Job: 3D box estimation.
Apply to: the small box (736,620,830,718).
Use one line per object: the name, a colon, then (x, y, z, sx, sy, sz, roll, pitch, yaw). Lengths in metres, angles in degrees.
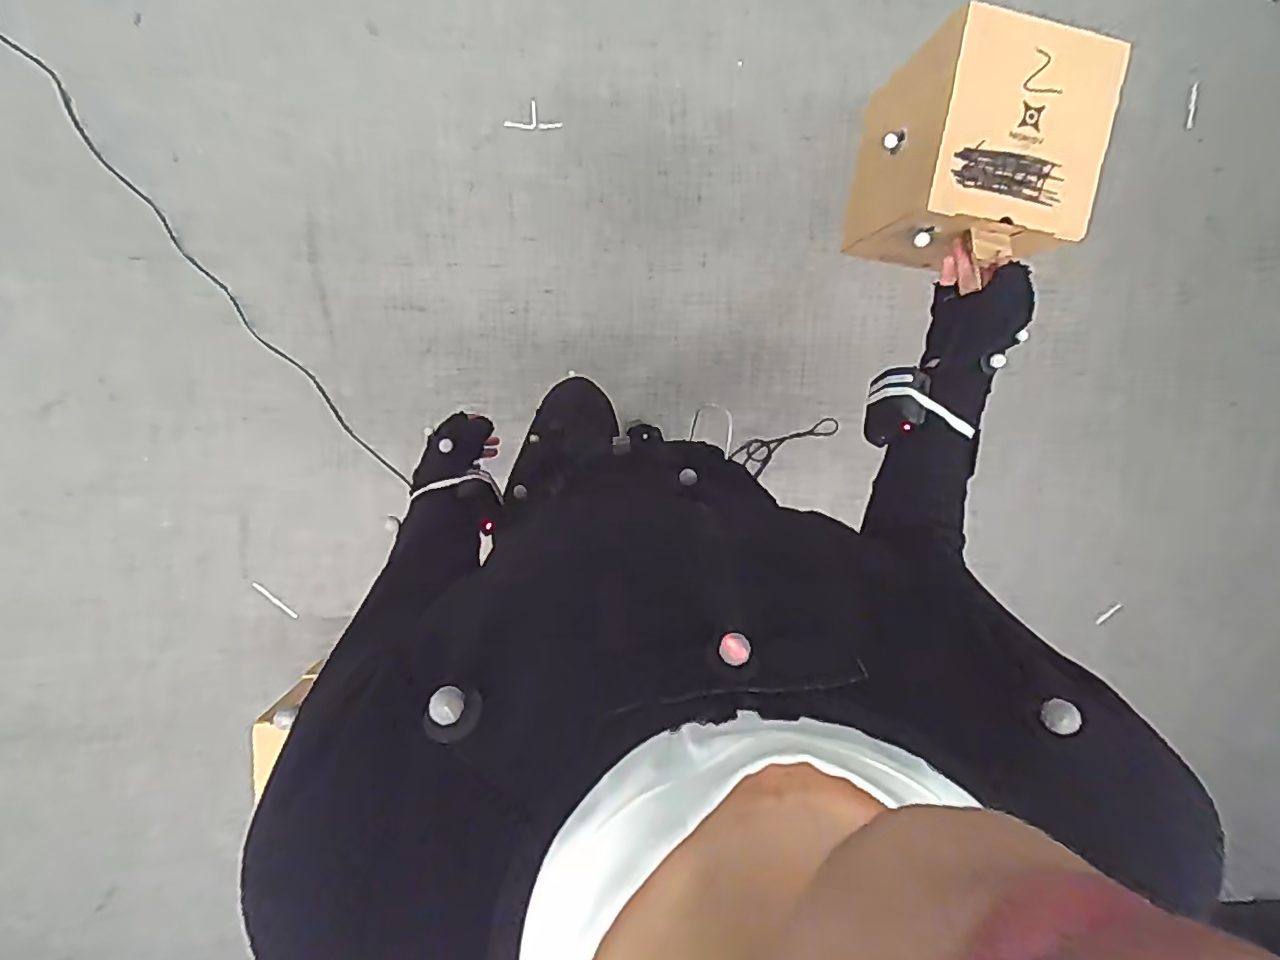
small box: (0.341, 0.454, 1.321, 0.168, 0.176, 0.179, 4, 99, -5)
